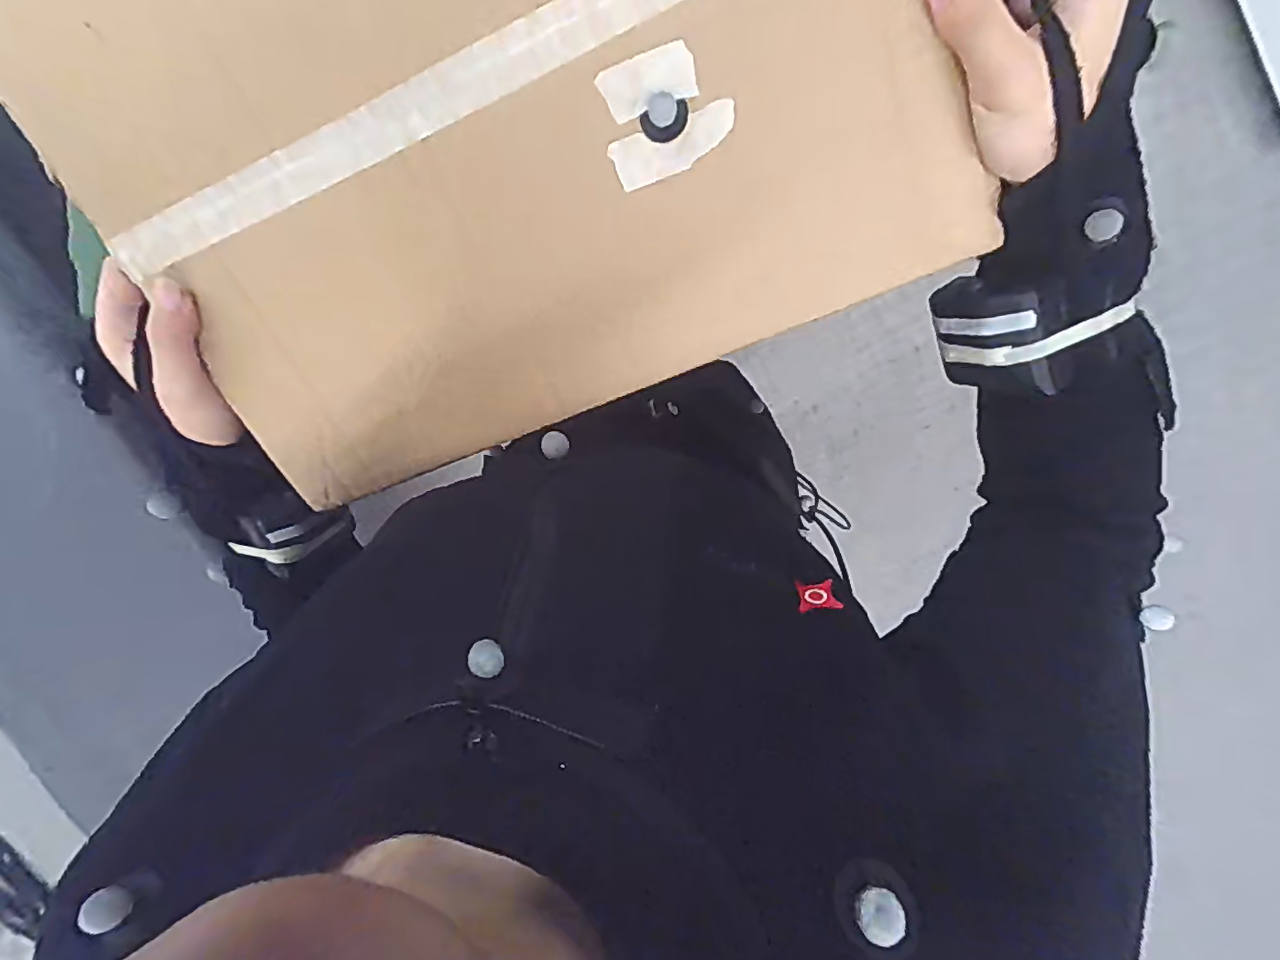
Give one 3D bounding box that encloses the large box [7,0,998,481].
[{"bbox_3d":[-0.059,-0.254,0.381,0.408,0.320,0.320,-20,114,8],"label":"large box"}]
